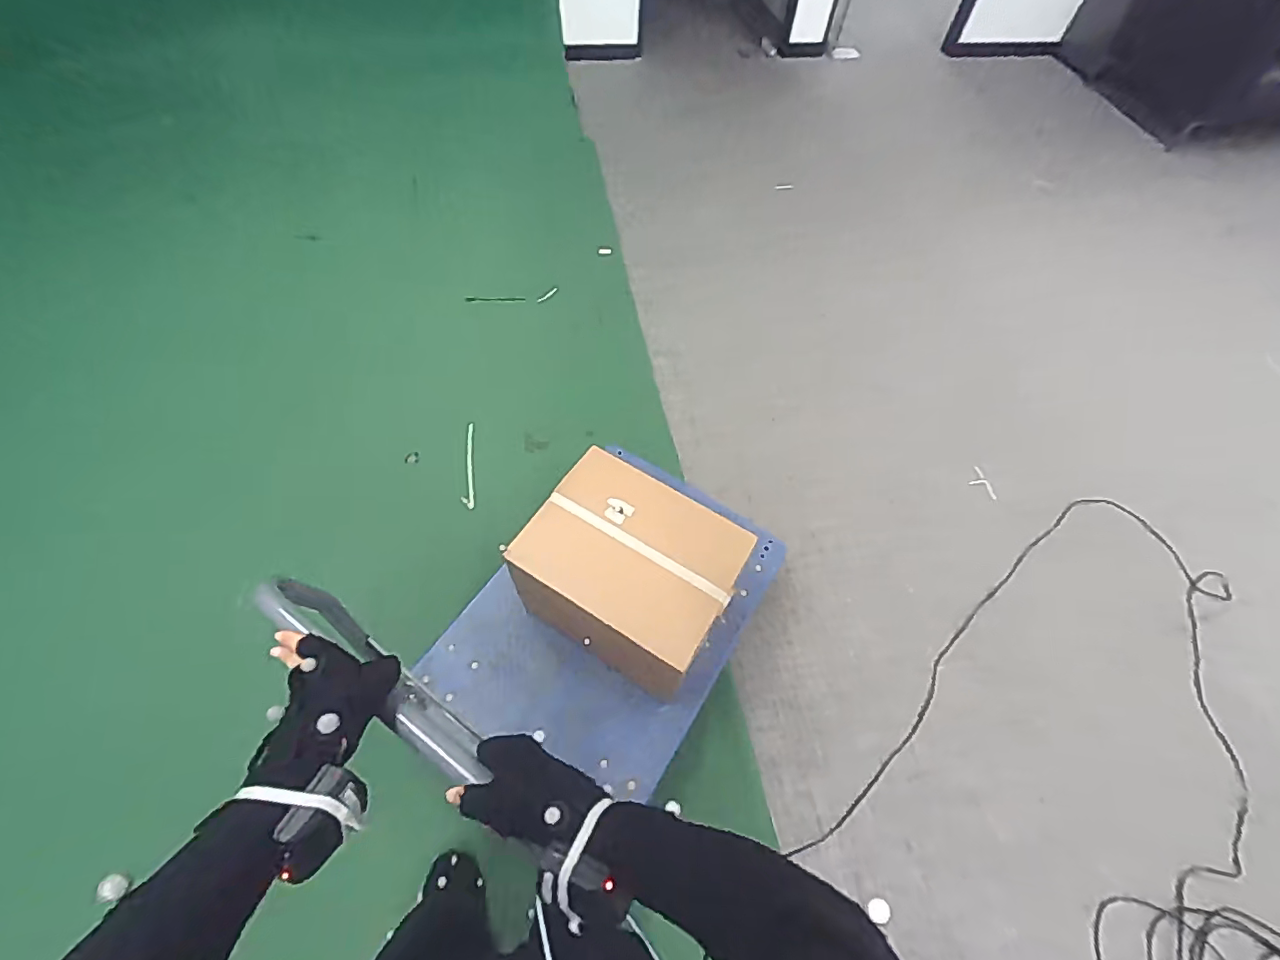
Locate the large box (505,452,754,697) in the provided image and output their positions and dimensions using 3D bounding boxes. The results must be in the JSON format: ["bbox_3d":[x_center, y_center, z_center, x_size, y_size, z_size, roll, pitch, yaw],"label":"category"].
[{"bbox_3d":[-0.020,0.214,1.190,0.408,0.320,0.320,29,60,14],"label":"large box"}]
